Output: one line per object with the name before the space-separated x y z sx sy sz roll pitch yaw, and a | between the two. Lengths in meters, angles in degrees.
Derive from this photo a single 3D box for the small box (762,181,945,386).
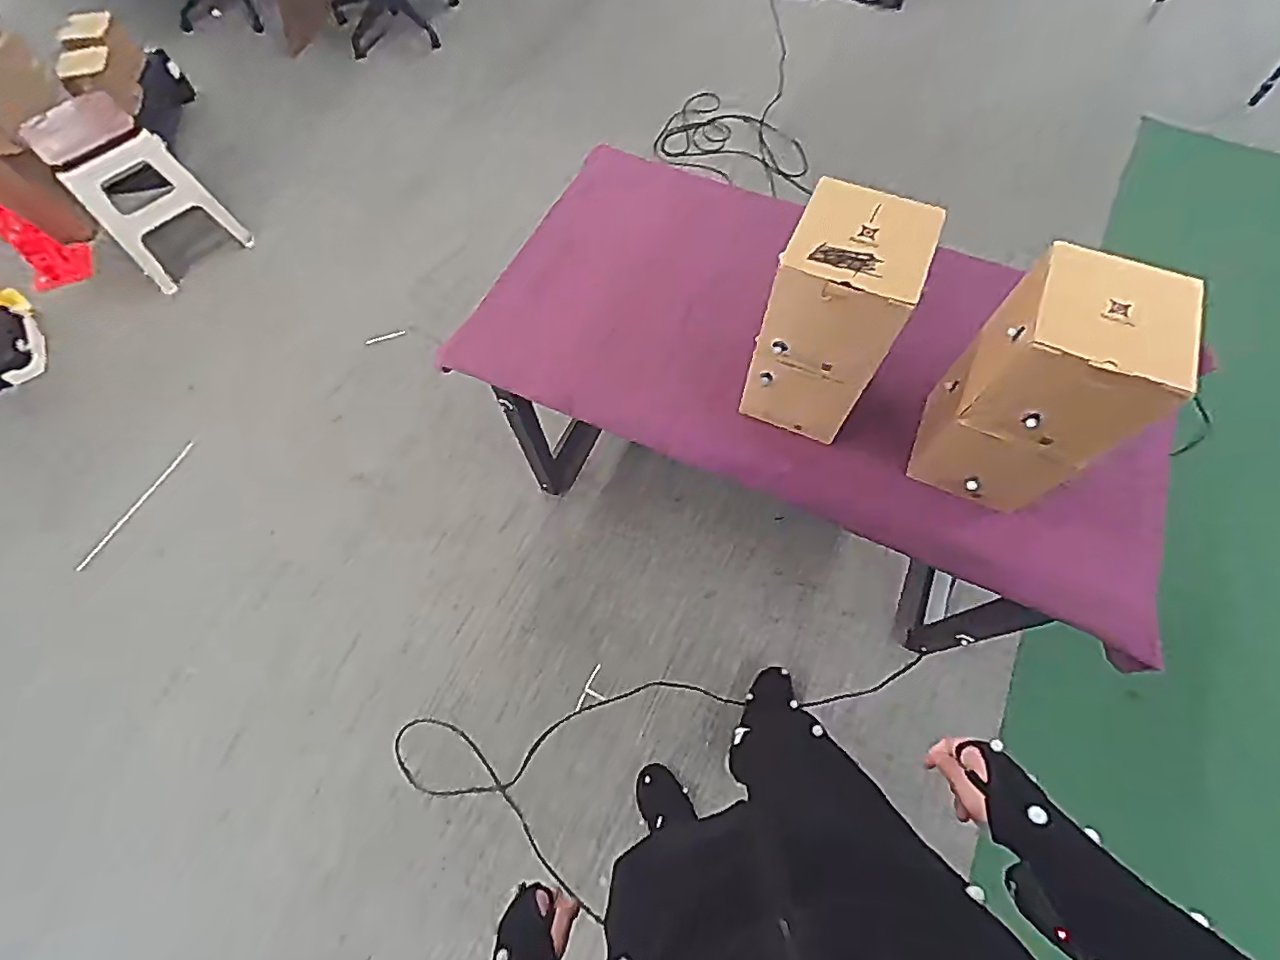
small box | 0.277 -0.259 0.736 0.168 0.176 0.179 23 67 11

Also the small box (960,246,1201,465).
small box | 0.538 -0.149 0.680 0.168 0.176 0.179 23 68 11

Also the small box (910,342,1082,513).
small box | 0.541 -0.078 0.826 0.168 0.176 0.179 23 68 12
